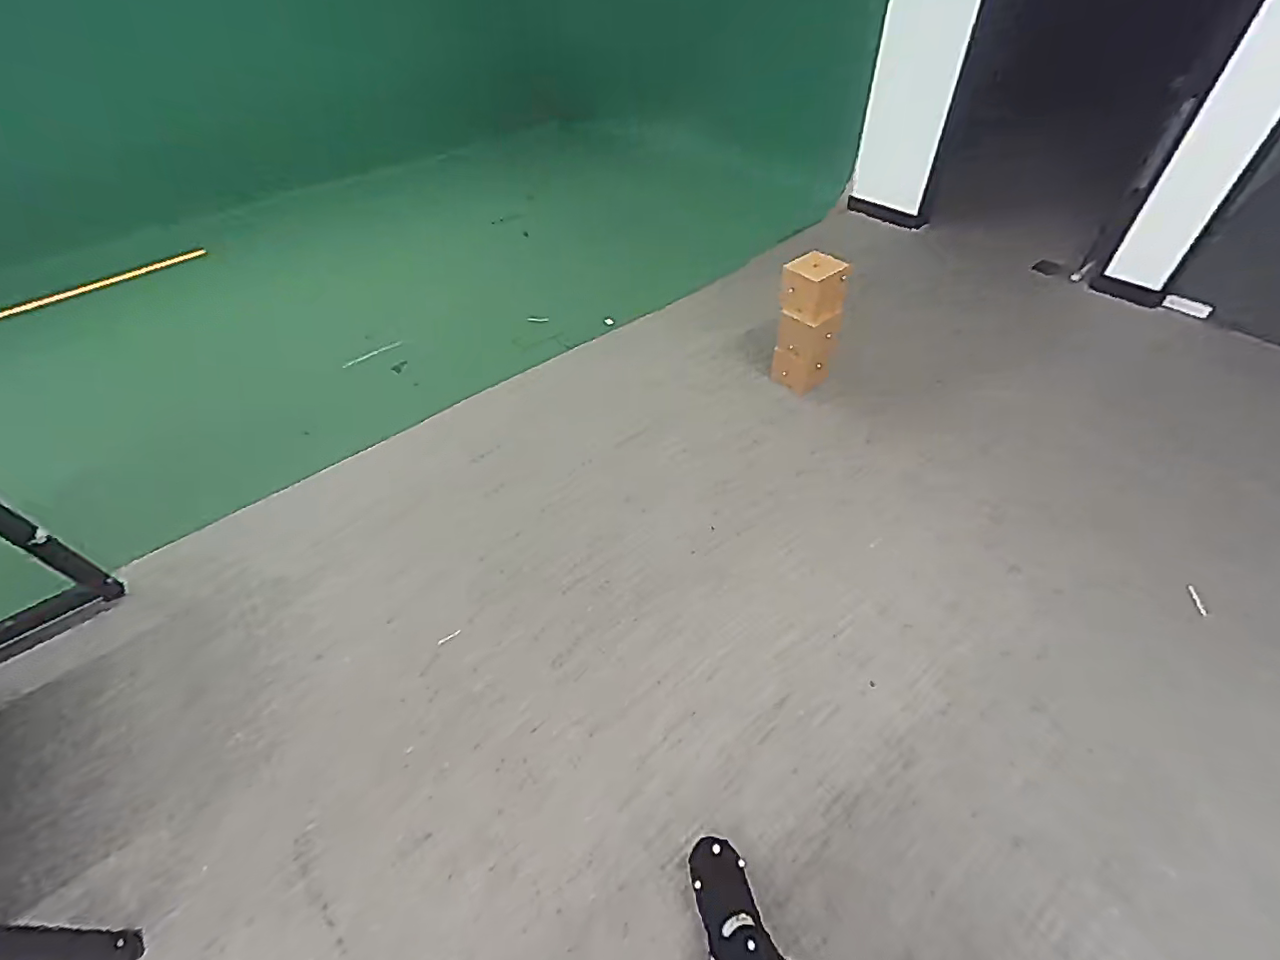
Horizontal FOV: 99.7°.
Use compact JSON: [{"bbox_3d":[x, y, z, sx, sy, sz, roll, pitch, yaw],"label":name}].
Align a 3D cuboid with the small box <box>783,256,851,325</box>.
[{"bbox_3d":[0.656,-0.707,2.027,0.179,0.176,0.168,-31,52,-21],"label":"small box"}]
